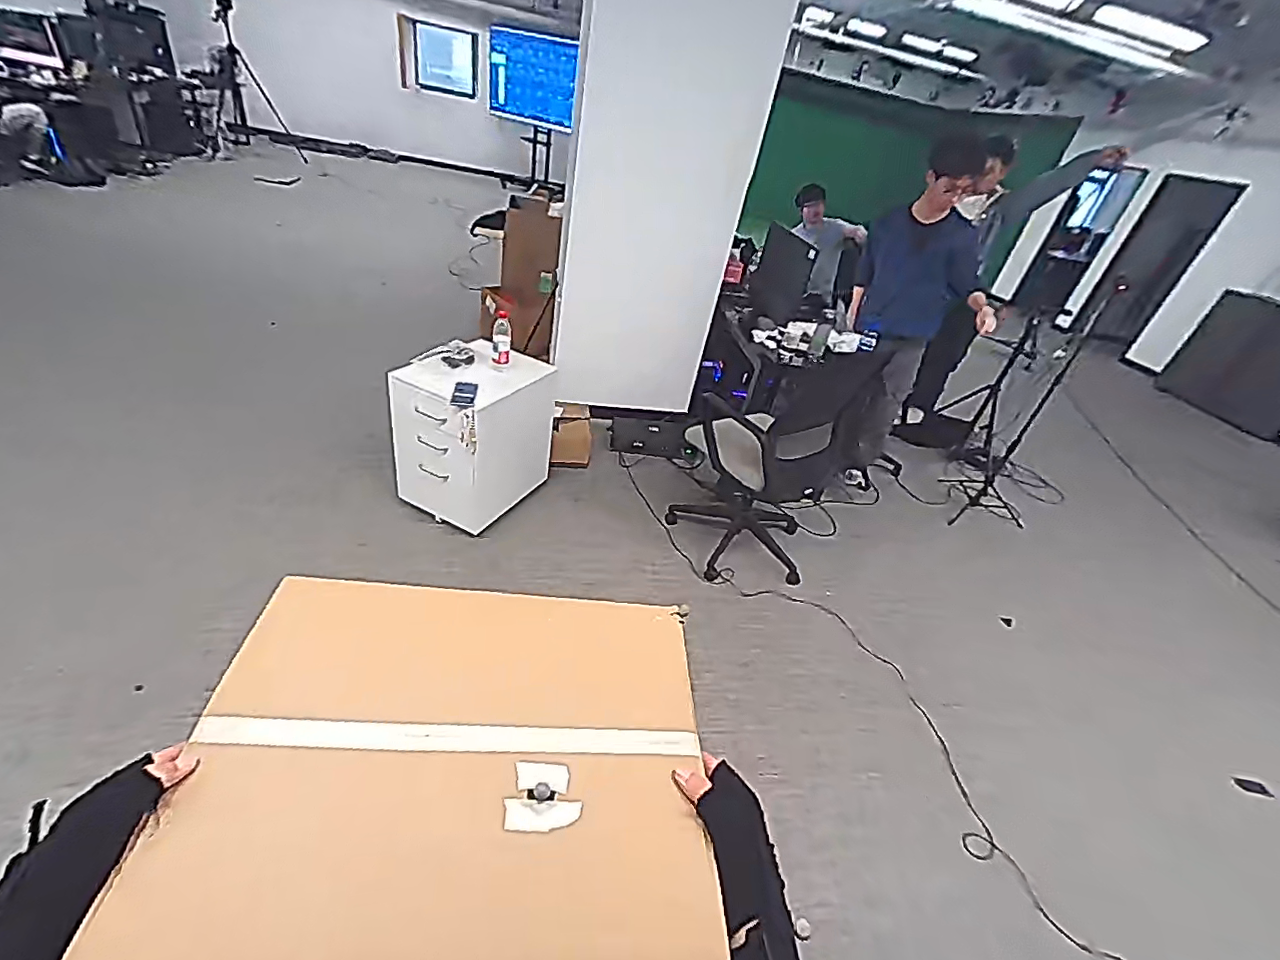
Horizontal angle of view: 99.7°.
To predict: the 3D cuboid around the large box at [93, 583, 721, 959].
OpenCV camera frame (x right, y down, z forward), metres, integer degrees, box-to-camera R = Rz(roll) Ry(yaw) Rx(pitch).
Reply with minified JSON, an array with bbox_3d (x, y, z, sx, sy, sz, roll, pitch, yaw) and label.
[{"bbox_3d":[-0.176,0.335,0.555,0.408,0.320,0.320,7,39,-10],"label":"large box"}]
